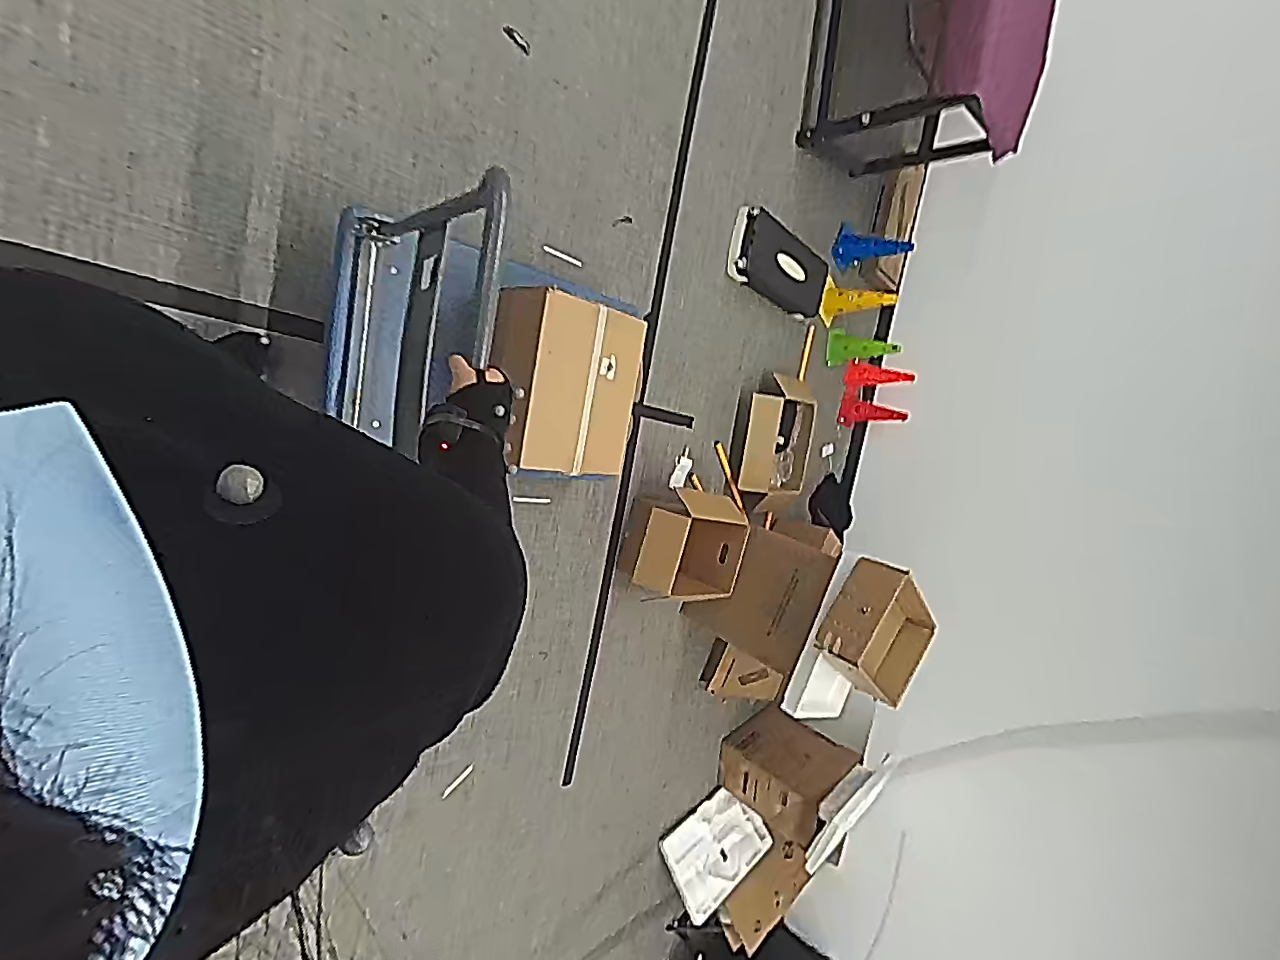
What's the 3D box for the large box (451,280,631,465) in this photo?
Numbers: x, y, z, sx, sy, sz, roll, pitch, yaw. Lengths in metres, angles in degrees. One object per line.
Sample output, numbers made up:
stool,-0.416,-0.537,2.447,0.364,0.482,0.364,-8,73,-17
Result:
large box,-0.262,-0.264,1.403,0.320,0.320,0.408,3,99,-47
